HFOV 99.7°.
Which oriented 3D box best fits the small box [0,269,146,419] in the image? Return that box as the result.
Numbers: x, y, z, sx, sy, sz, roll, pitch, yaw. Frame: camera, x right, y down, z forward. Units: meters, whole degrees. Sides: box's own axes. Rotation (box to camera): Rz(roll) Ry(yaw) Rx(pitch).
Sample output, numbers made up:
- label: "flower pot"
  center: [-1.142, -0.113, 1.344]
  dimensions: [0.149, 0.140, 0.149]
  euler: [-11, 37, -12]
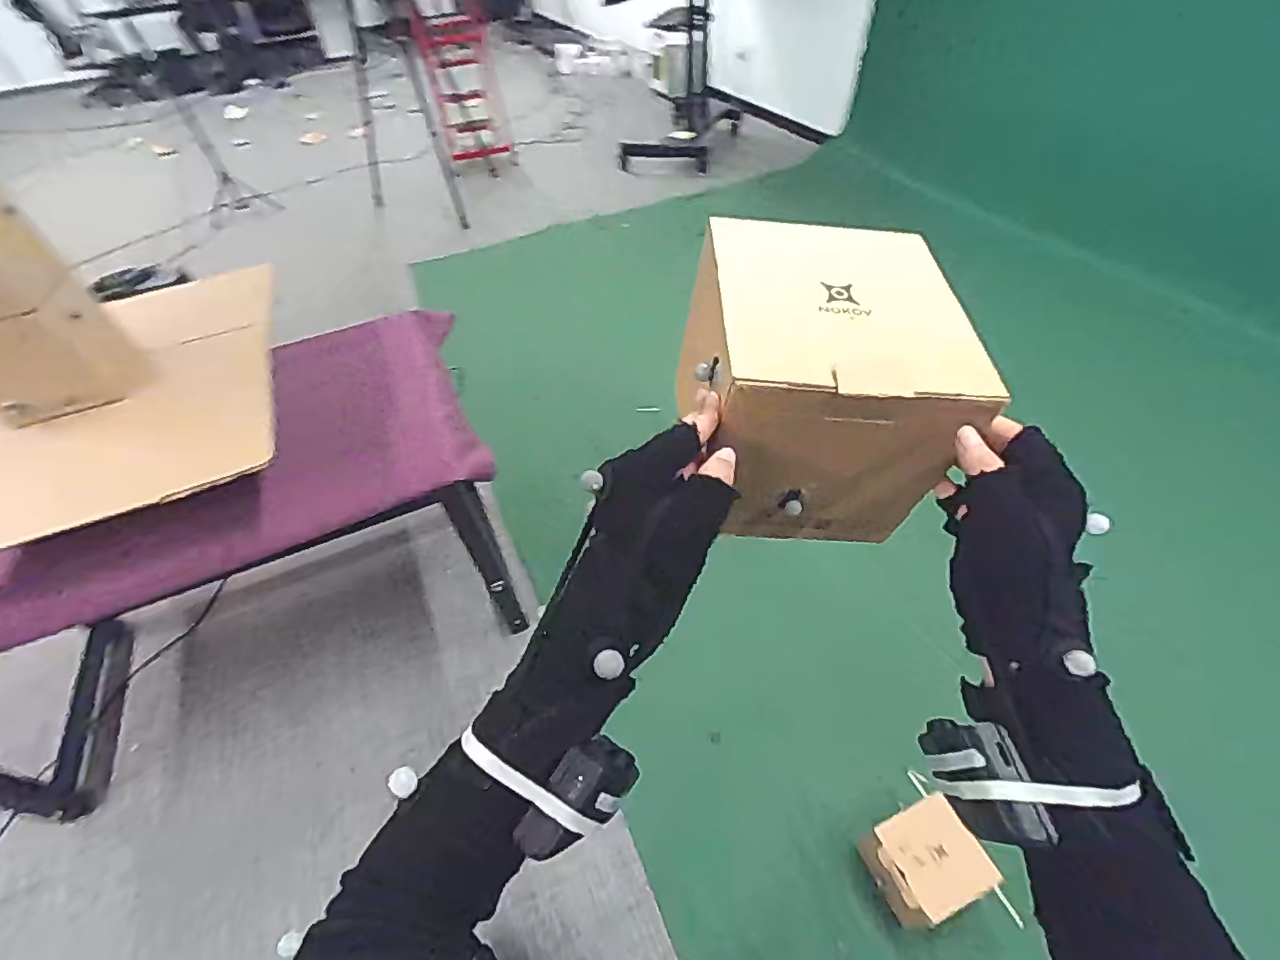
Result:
- label: "small box"
  center: [-0.989, -0.221, 0.907]
  dimensions: [0.168, 0.176, 0.179]
  euler: [-20, 49, -12]

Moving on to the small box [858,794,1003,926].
- label: "small box"
  center: [0.583, 0.781, 1.113]
  dimensions: [0.179, 0.176, 0.168]
  euler: [-20, 51, -12]
